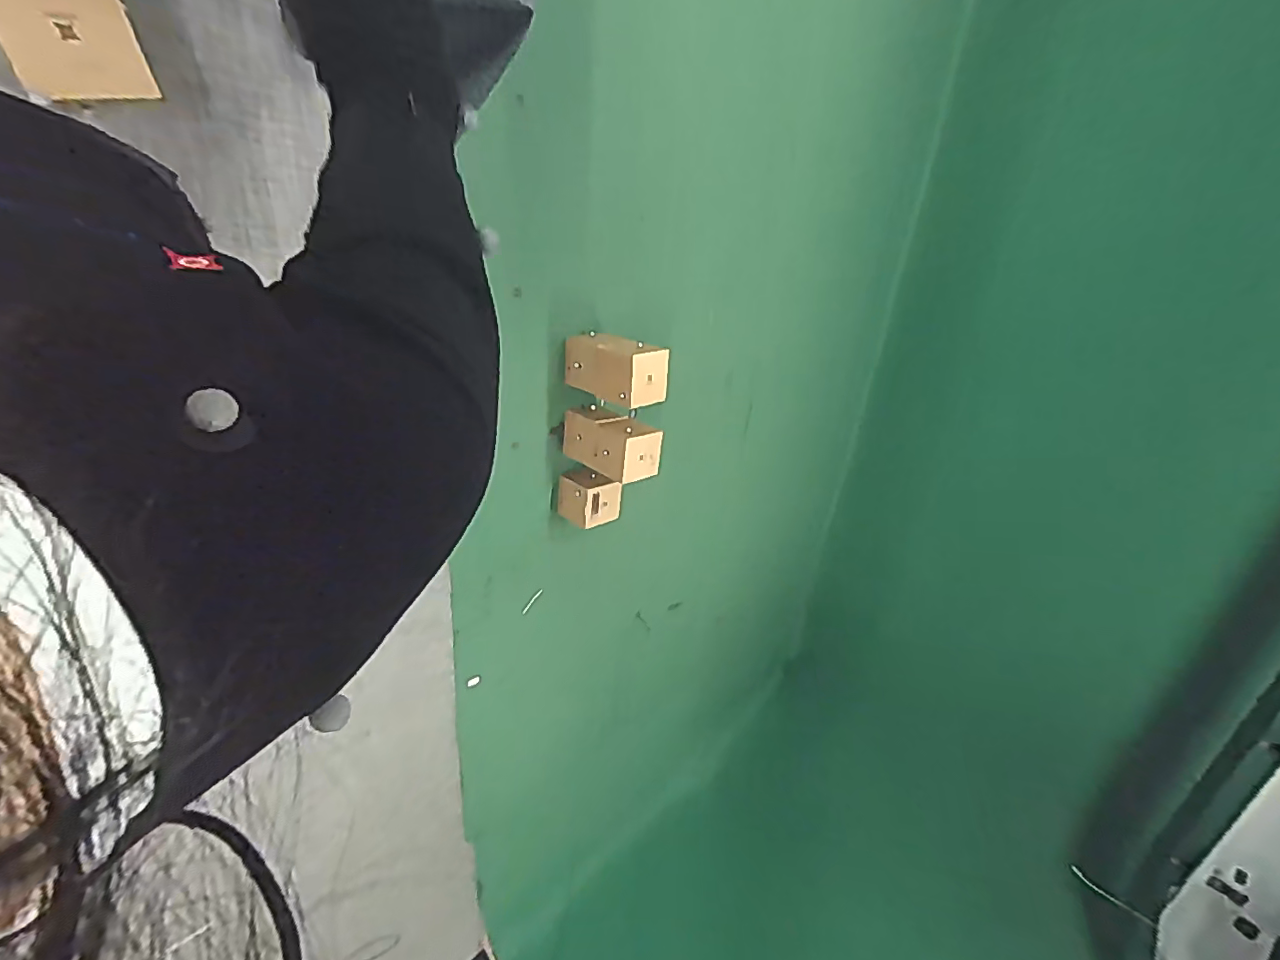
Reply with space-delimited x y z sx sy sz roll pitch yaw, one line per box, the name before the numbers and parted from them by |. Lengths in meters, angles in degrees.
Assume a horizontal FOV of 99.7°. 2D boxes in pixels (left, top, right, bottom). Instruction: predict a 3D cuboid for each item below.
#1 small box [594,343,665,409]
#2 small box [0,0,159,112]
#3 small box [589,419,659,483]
small box | -0.037 -0.349 1.782 0.168 0.176 0.179 -21 125 -41
small box | -0.916 -0.697 0.854 0.168 0.176 0.179 -30 130 -35
small box | -0.060 -0.106 1.890 0.179 0.176 0.168 -17 123 -43
